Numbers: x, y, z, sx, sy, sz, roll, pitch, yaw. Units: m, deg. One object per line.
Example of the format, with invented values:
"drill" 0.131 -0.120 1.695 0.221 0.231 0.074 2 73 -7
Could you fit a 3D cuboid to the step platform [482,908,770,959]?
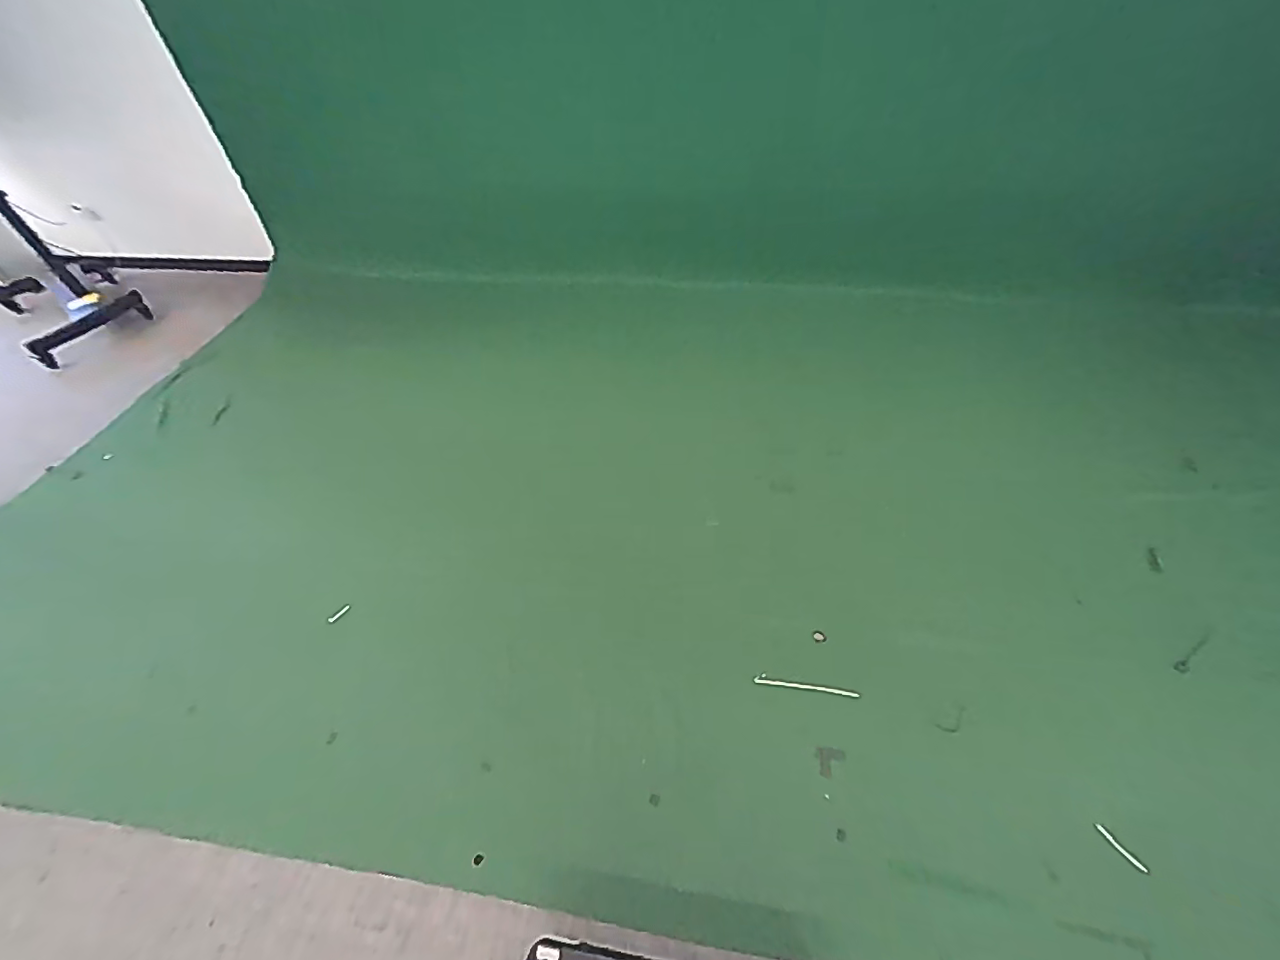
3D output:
"step platform" 0.042 1.003 0.965 0.684 0.204 0.286 5 49 8
